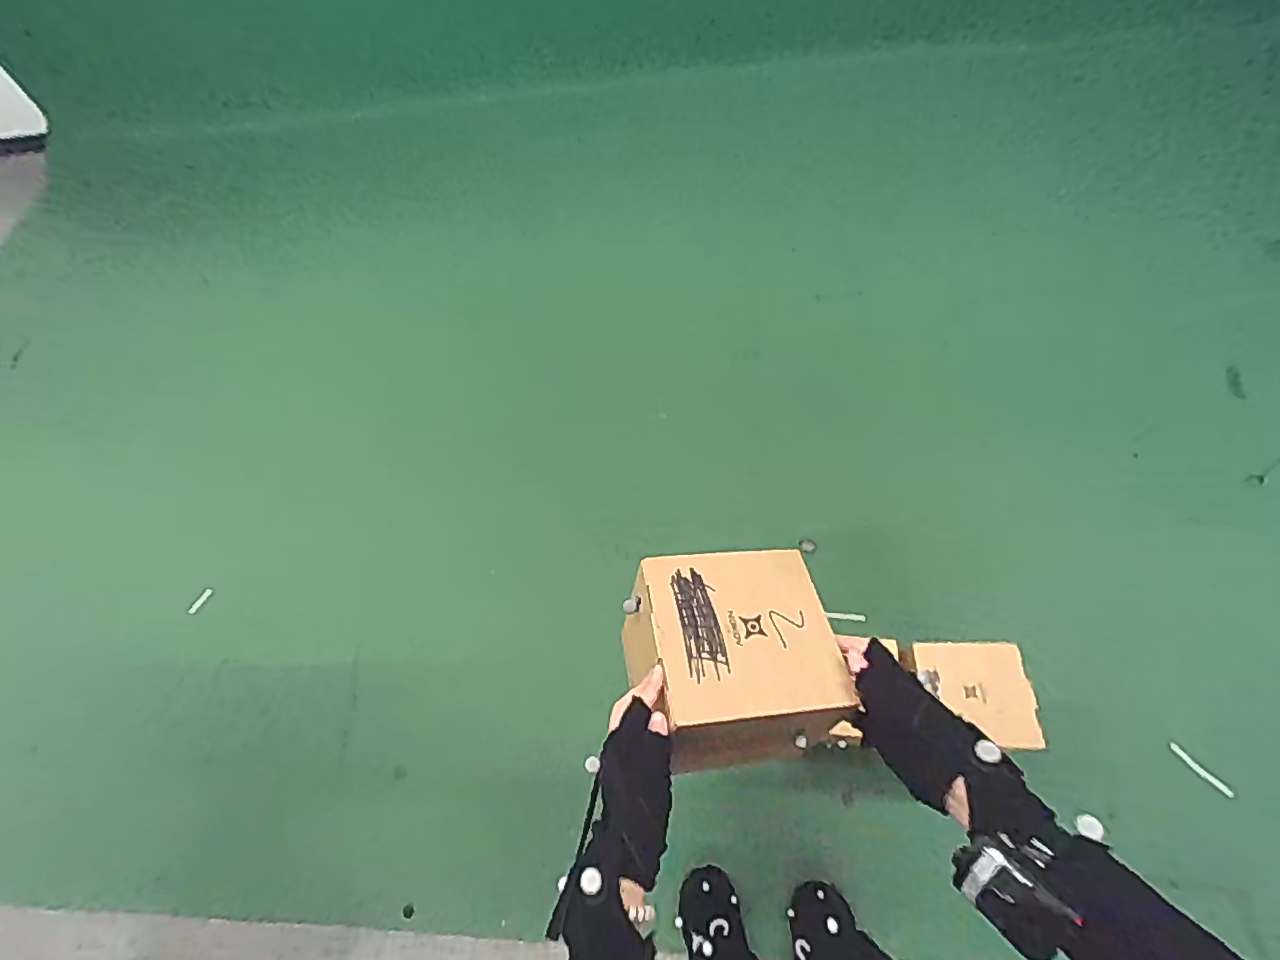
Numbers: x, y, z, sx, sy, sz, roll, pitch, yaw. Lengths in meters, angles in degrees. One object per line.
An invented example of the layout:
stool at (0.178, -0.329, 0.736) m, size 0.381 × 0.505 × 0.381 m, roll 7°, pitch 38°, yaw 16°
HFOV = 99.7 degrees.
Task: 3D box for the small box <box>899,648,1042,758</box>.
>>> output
small box at (0.570, 0.406, 0.977) m, size 0.179 × 0.176 × 0.168 m, roll -1°, pitch 62°, yaw 7°

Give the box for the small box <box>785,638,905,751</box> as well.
small box at (0.371, 0.401, 1.005) m, size 0.179 × 0.176 × 0.168 m, roll 3°, pitch 63°, yaw 10°
